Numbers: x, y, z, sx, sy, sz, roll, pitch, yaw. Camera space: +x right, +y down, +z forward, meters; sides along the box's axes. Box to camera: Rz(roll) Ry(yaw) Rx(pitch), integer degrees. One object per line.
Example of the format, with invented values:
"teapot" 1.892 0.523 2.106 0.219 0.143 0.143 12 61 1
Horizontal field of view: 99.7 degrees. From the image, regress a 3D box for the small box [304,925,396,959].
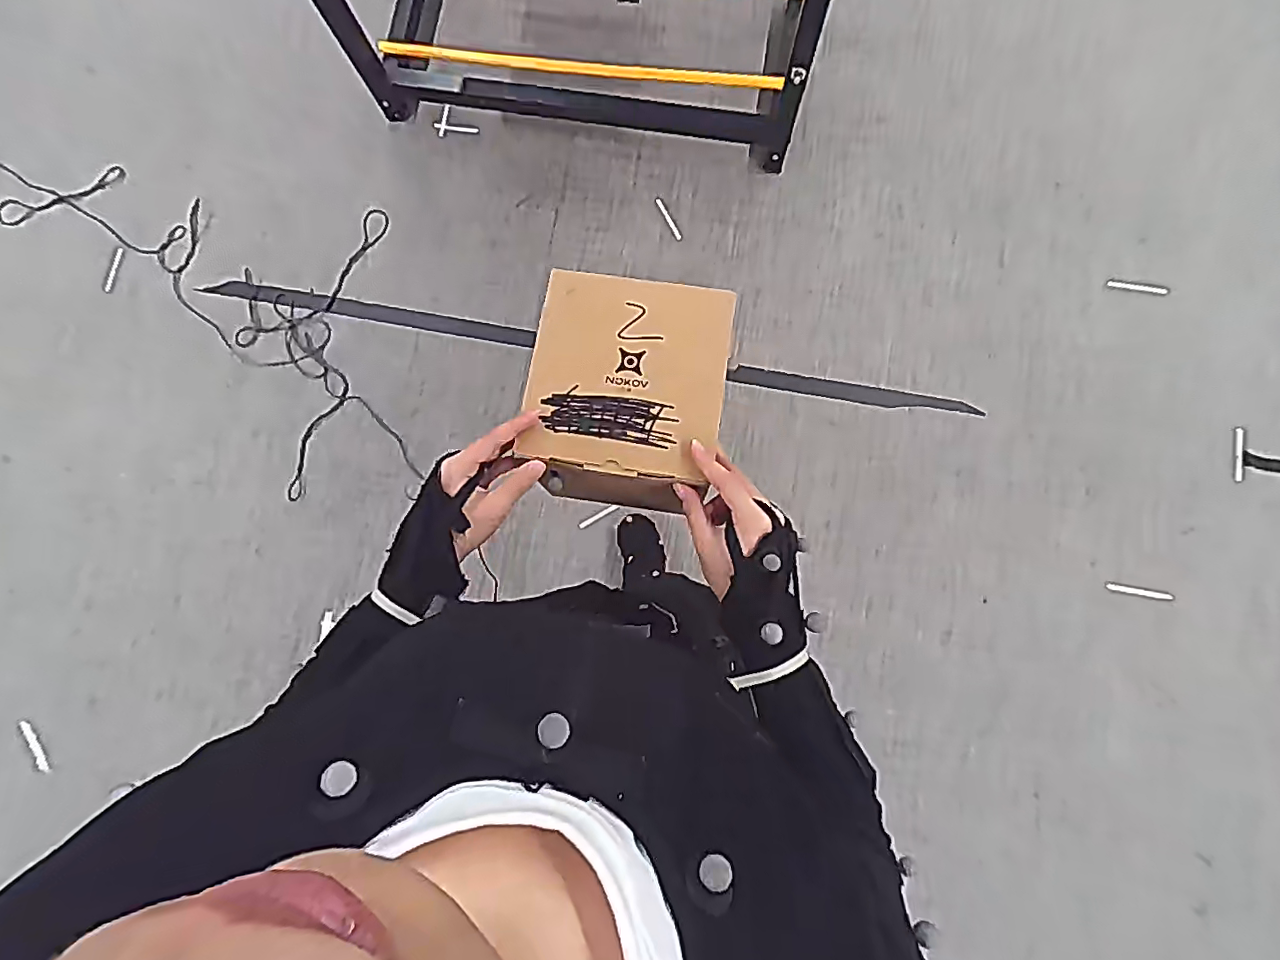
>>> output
"small box" -0.639 1.087 1.126 0.168 0.176 0.179 13 83 4
